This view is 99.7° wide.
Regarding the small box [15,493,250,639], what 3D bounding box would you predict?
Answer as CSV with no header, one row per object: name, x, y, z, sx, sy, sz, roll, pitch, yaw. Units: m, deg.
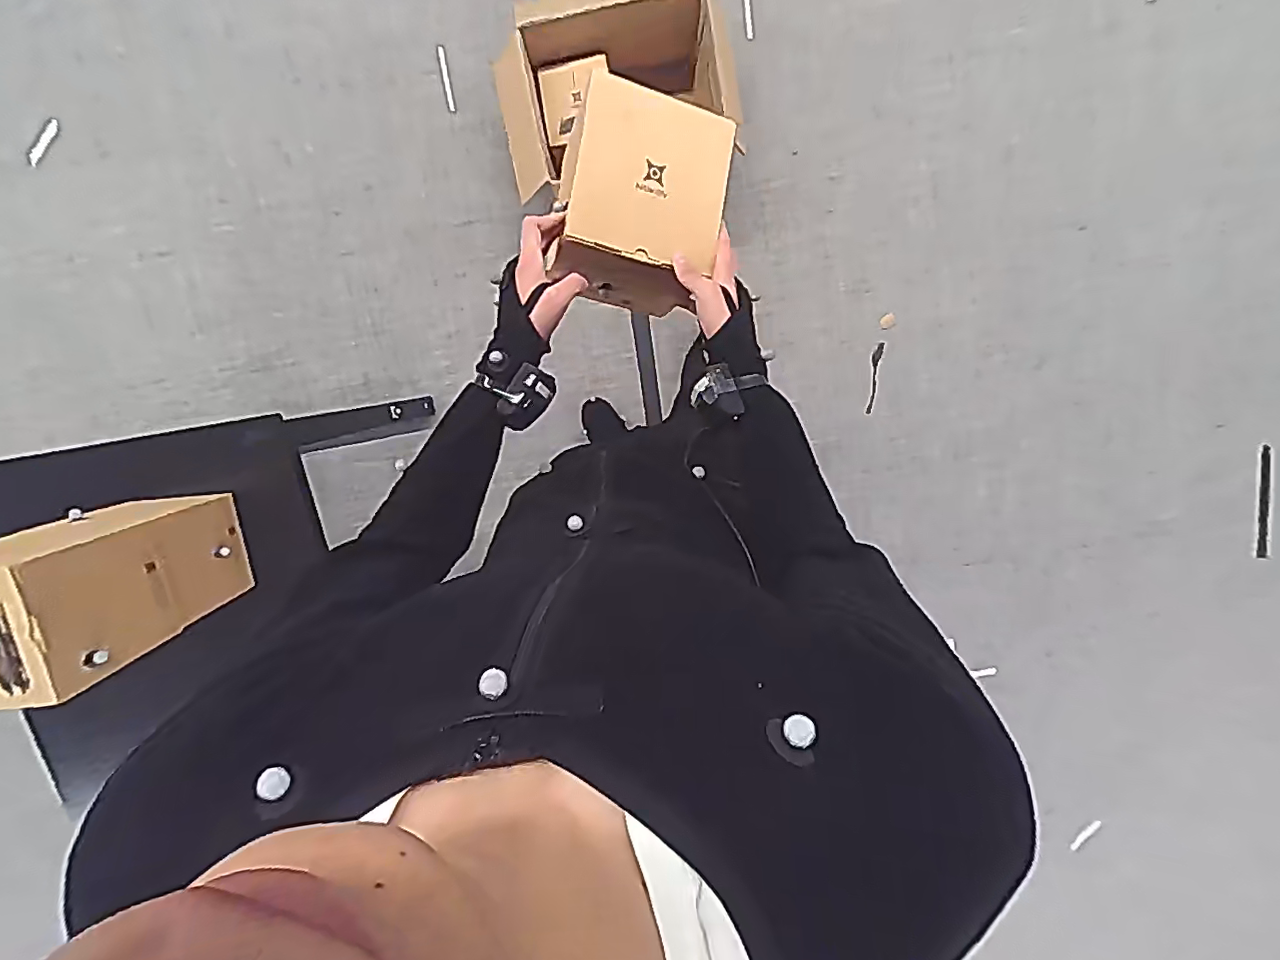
small box,-0.745,0.121,0.816,0.179,0.176,0.168,-4,103,0

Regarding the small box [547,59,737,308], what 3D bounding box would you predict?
small box,-0.008,-0.322,0.631,0.168,0.176,0.179,9,91,-18
